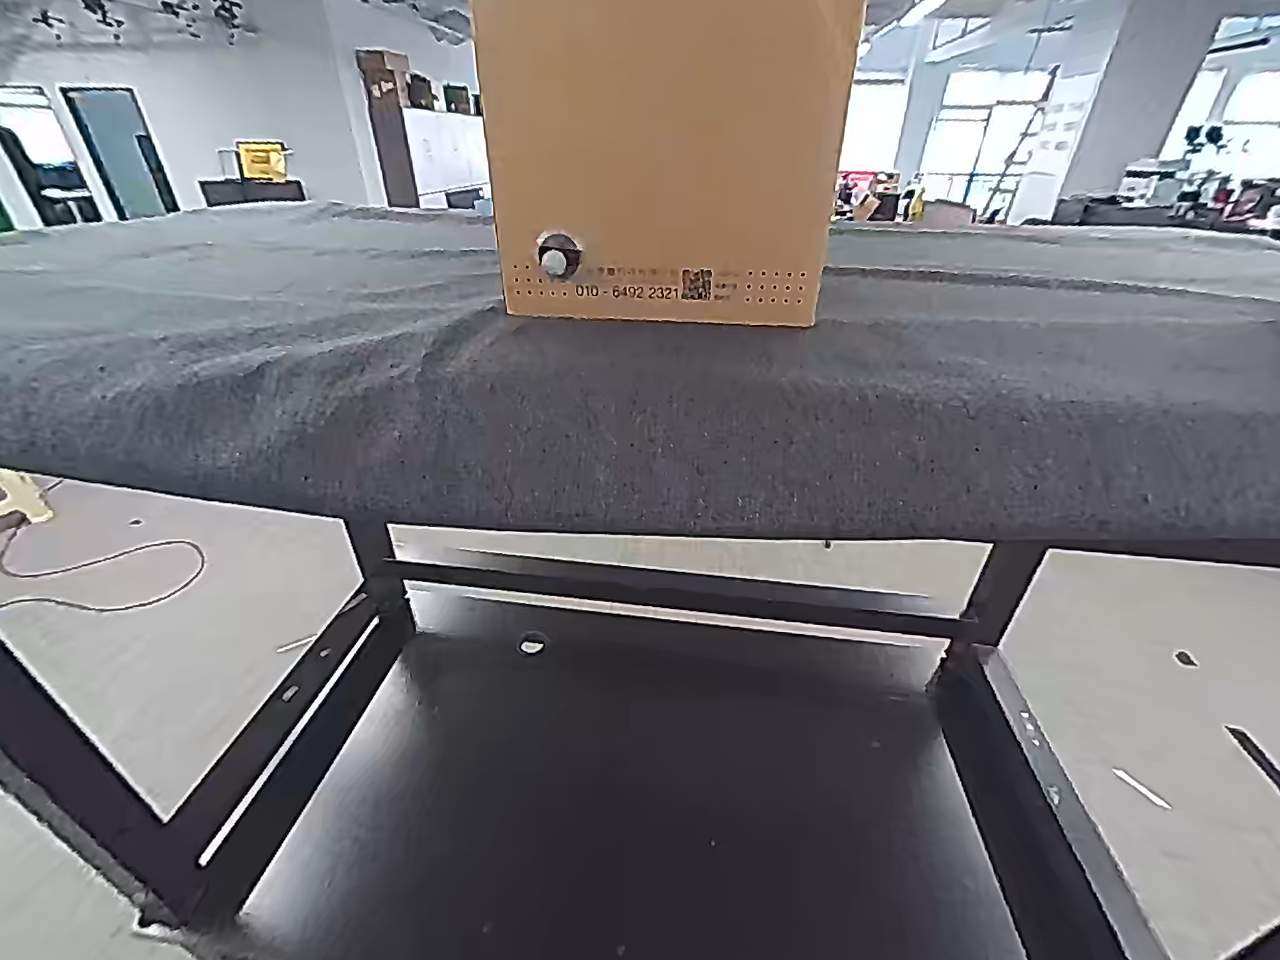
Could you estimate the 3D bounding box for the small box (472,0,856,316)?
[{"bbox_3d":[0.019,-0.199,0.317,0.168,0.176,0.179,4,30,5],"label":"small box"}]
